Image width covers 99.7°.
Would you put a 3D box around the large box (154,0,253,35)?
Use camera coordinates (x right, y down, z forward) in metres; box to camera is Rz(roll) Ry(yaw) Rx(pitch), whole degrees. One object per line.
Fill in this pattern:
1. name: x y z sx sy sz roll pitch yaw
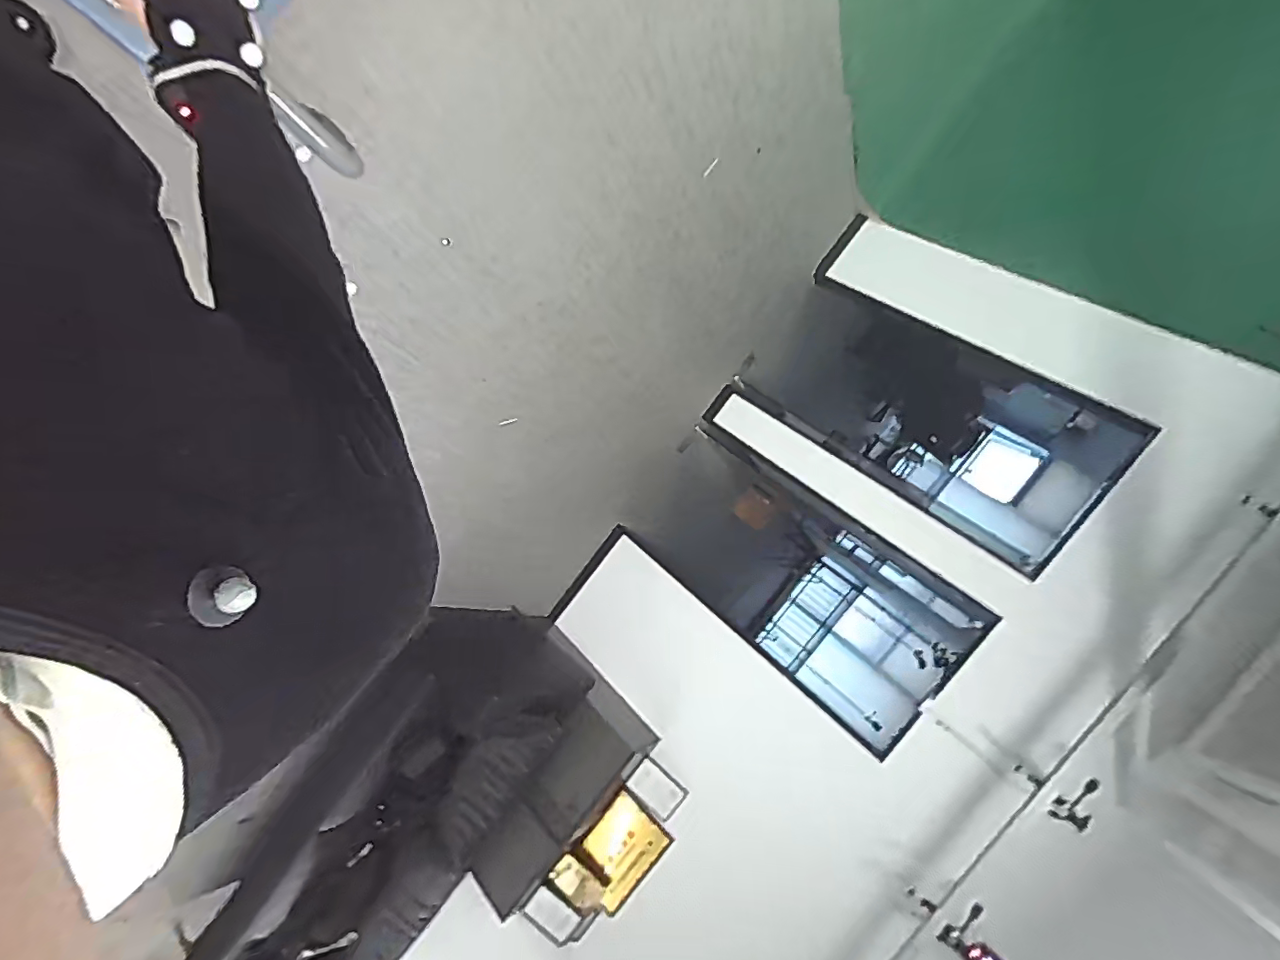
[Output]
1. large box: -0.656 -0.926 0.724 0.408 0.320 0.320 -52 153 1
